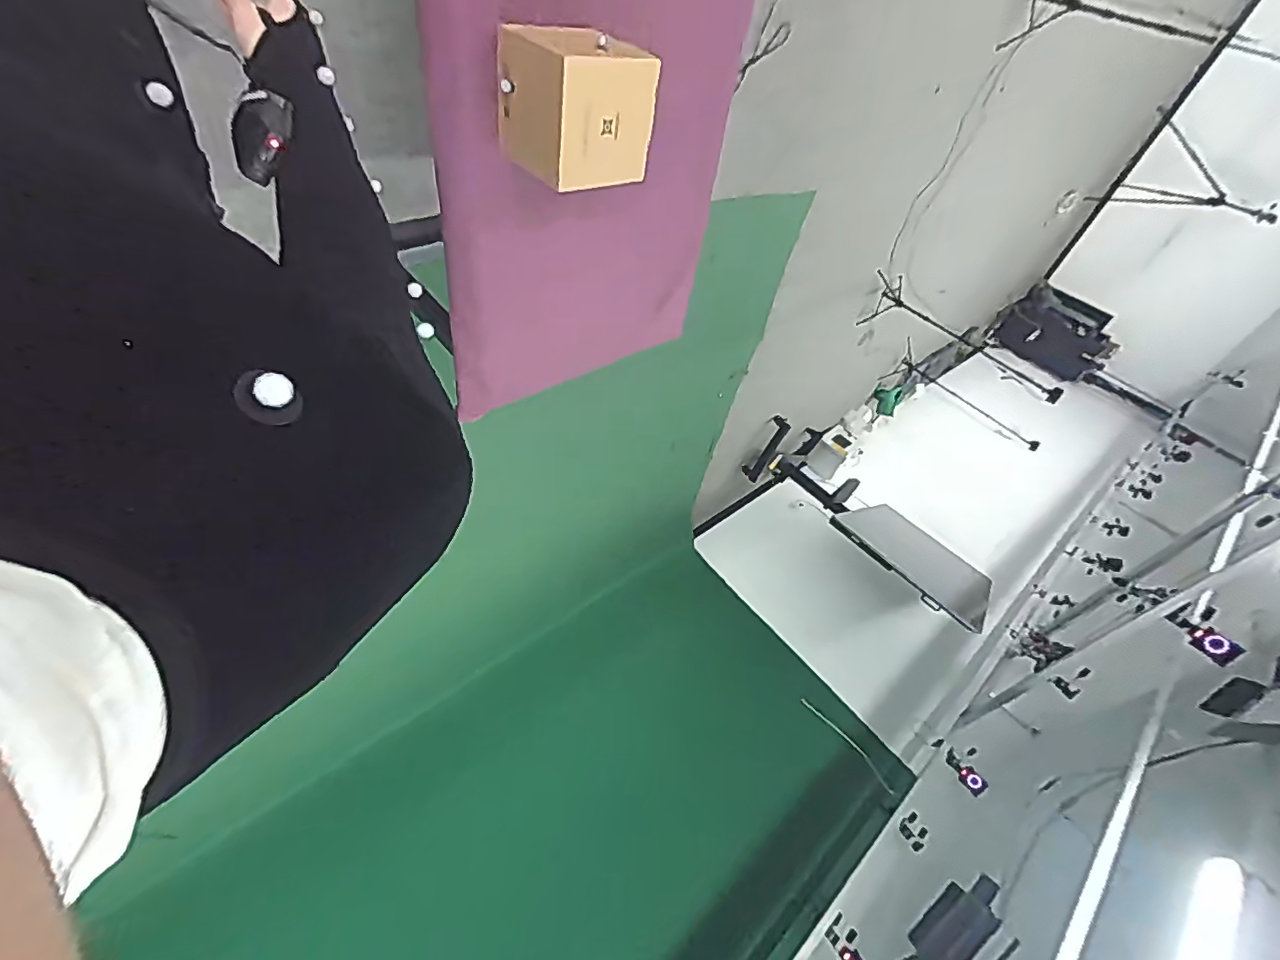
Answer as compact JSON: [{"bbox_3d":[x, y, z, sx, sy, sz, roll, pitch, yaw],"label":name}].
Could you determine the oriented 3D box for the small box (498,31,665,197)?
[{"bbox_3d":[-0.094,-0.553,0.817,0.179,0.176,0.168,-28,148,-33],"label":"small box"}]
